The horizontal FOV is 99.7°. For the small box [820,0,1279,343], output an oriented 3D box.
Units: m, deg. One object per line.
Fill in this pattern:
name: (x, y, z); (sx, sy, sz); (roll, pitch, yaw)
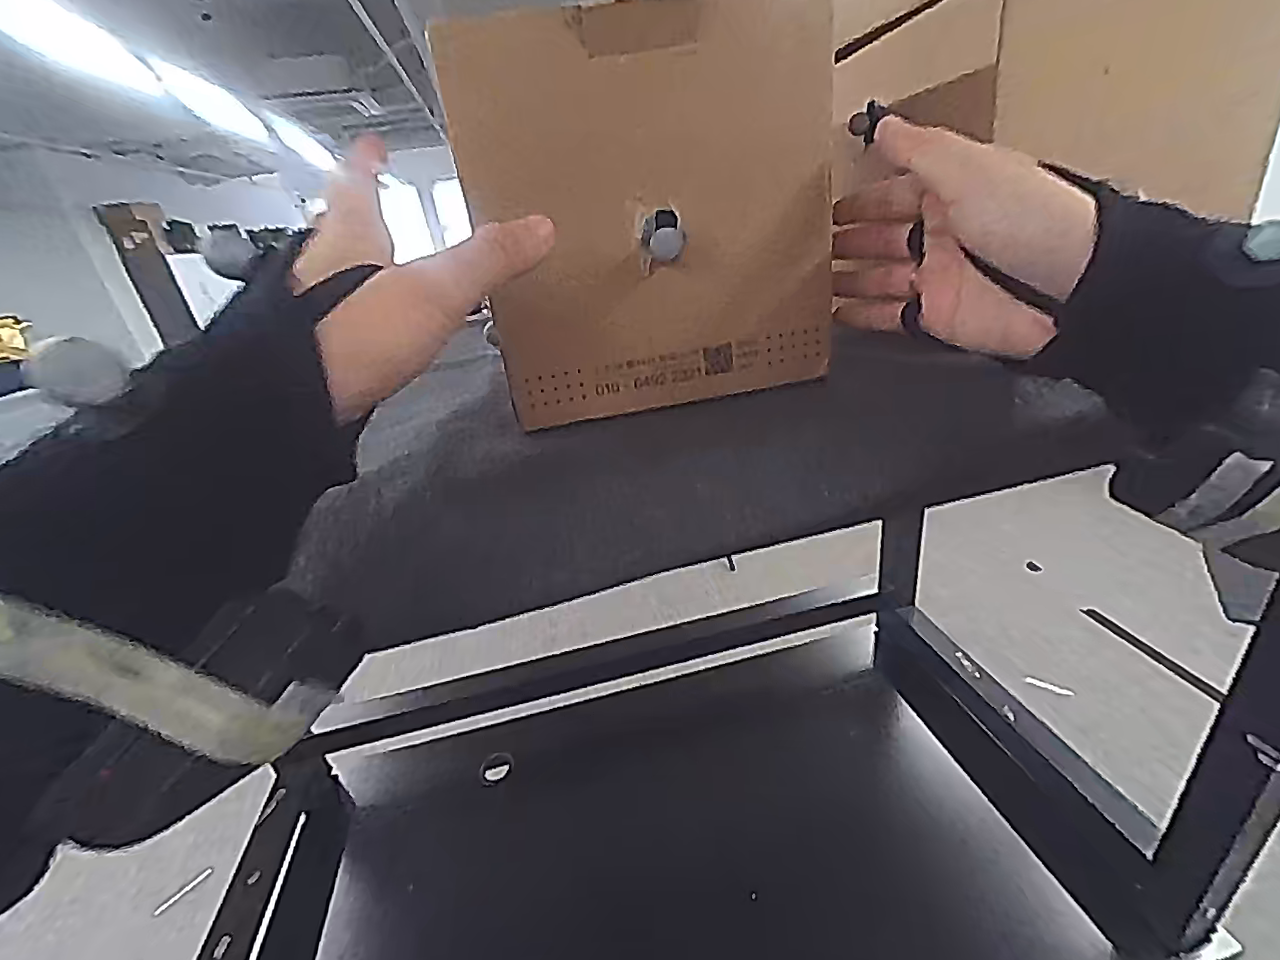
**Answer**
small box: (0.229, -0.191, 0.344); (0.168, 0.176, 0.179); (-13, 25, -6)

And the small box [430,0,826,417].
small box: (-0.002, -0.143, 0.321); (0.168, 0.176, 0.179); (-11, 25, -5)
